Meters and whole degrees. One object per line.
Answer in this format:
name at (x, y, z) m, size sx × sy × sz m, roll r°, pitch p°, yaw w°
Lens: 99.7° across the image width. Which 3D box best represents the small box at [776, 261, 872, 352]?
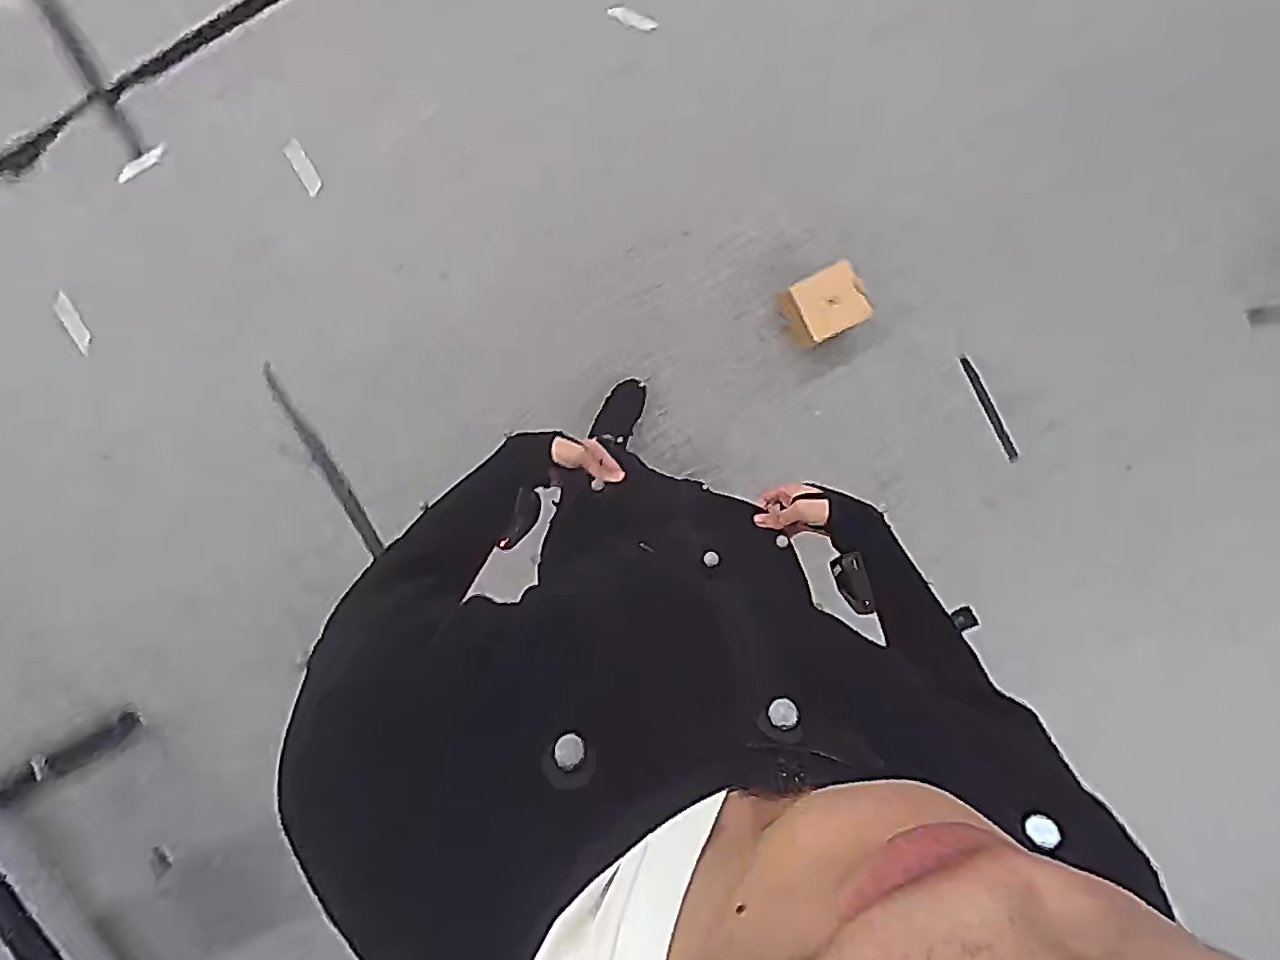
small box at (0.508, -0.480, 1.516) m, size 0.179 × 0.176 × 0.168 m, roll -26°, pitch 94°, yaw 1°
